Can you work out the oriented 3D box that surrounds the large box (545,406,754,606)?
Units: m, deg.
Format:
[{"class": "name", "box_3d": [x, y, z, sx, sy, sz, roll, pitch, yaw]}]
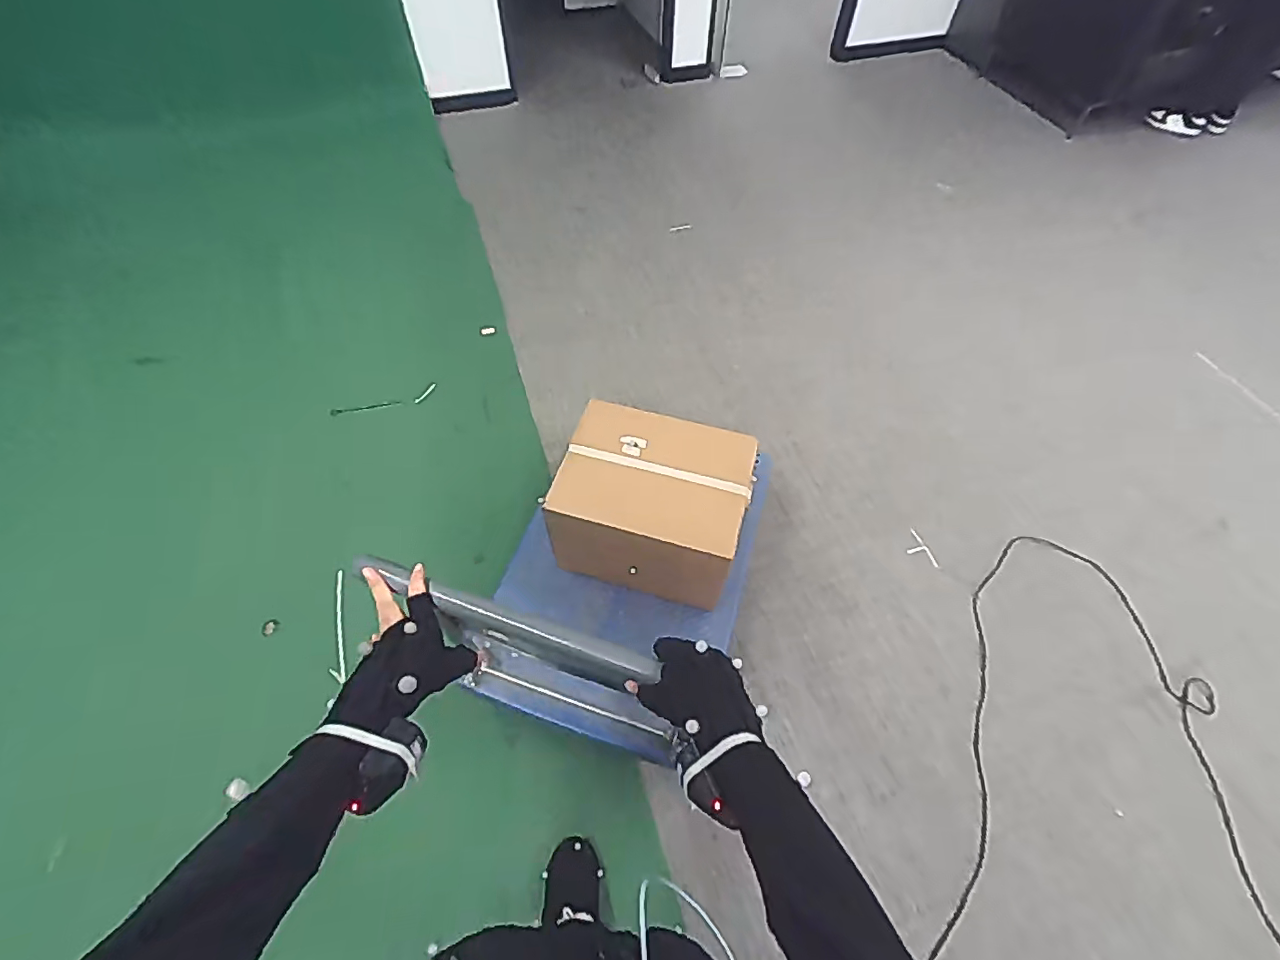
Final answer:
[{"class": "large box", "box_3d": [0.031, 0.070, 1.304, 0.408, 0.320, 0.320, 14, 57, 9]}]
